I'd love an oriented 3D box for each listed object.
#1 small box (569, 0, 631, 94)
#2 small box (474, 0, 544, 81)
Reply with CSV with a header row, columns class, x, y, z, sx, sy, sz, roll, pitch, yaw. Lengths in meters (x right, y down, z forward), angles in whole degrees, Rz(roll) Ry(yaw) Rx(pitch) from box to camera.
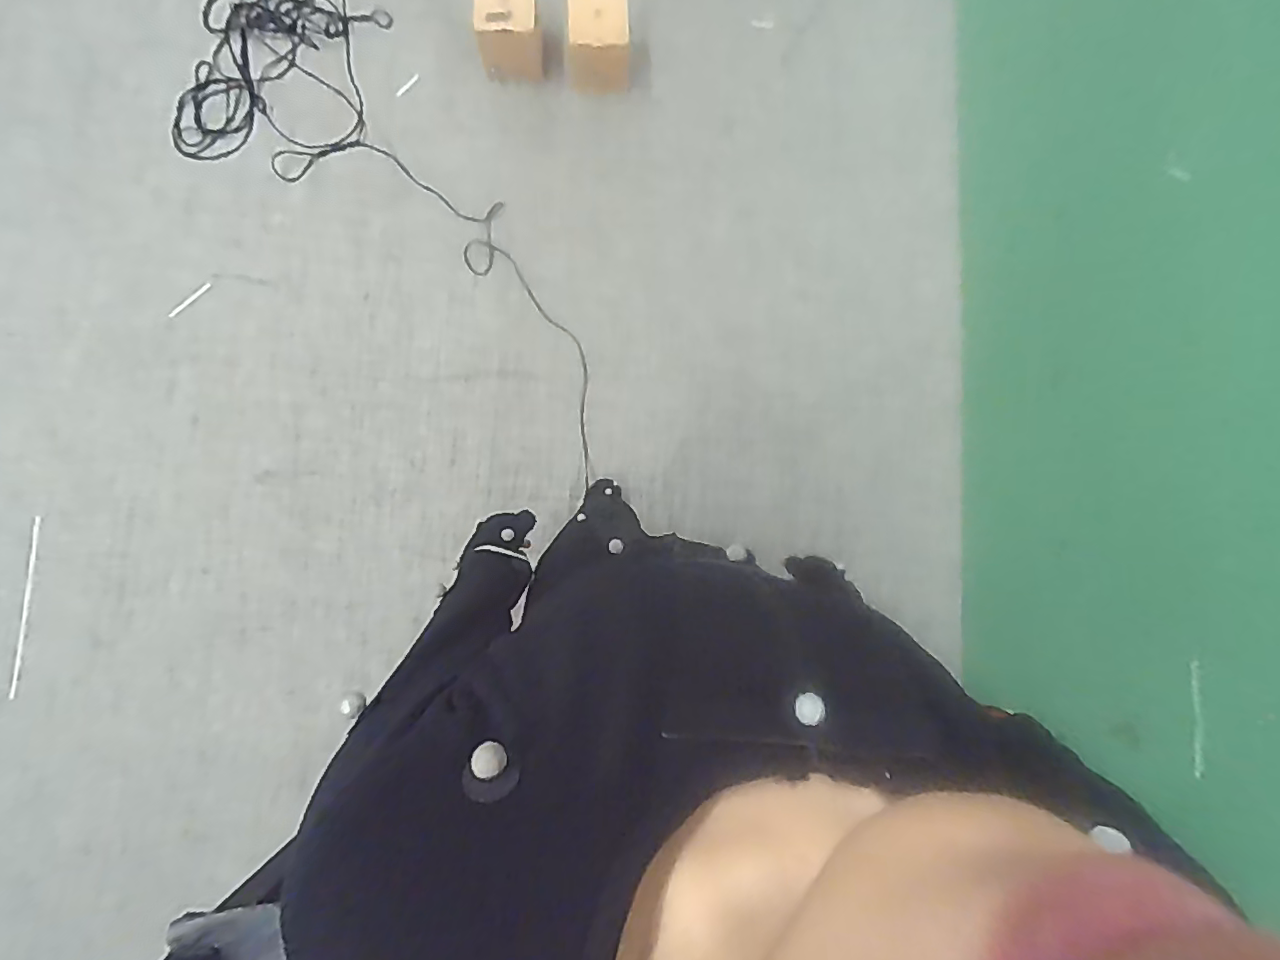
class,x,y,z,sx,sy,sz,roll,pitch,yaw
small box,-0.114,-1.253,1.549,0.168,0.176,0.179,-3,85,-2
small box,-0.368,-1.281,1.542,0.168,0.176,0.179,0,83,-2
